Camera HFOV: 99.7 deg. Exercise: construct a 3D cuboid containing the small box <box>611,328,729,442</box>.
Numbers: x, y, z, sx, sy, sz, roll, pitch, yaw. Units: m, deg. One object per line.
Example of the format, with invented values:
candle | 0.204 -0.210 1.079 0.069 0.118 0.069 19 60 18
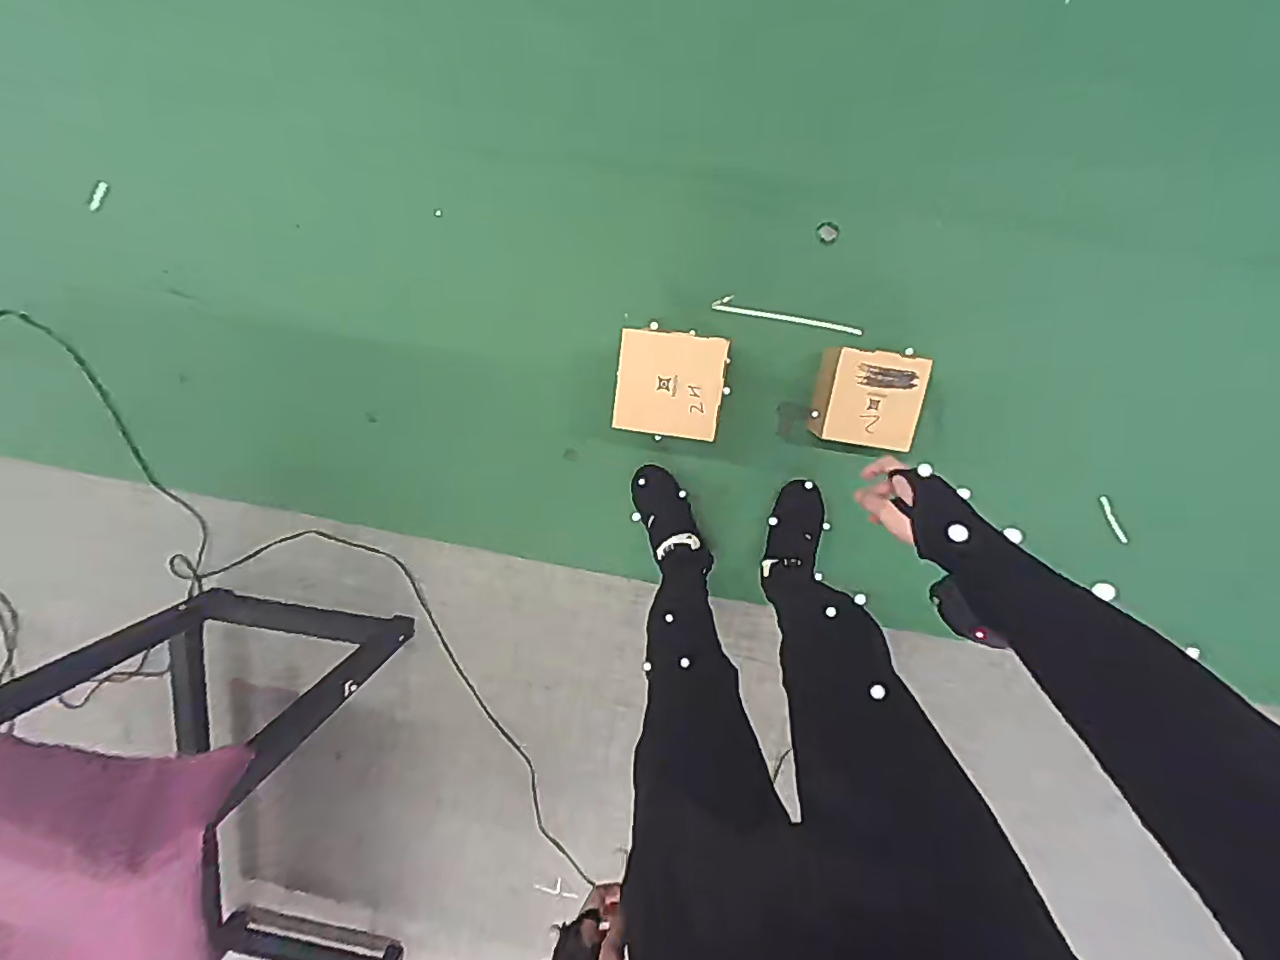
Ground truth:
small box | 0.057 -0.169 0.959 0.179 0.176 0.168 9 103 5
